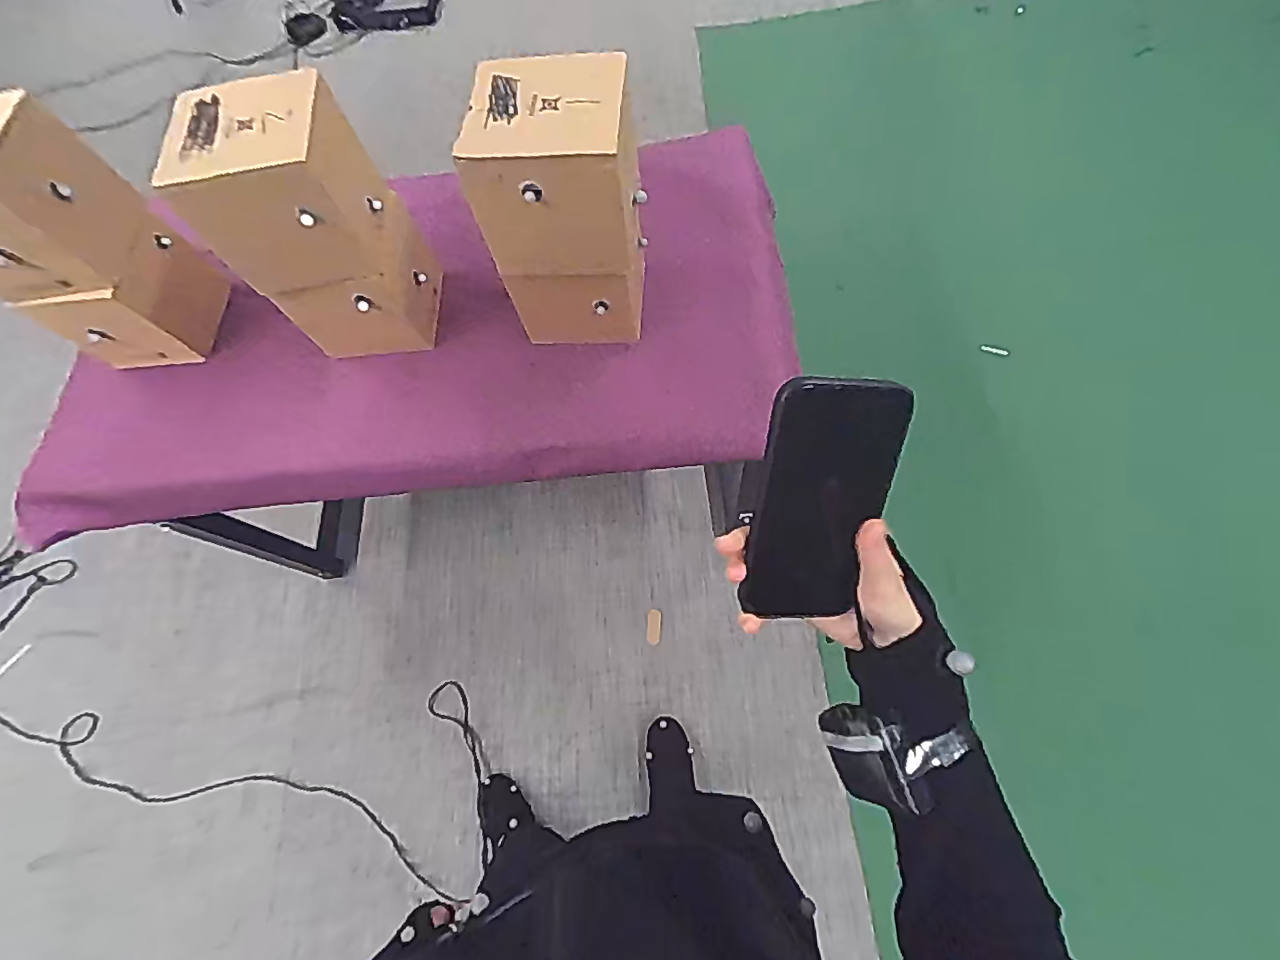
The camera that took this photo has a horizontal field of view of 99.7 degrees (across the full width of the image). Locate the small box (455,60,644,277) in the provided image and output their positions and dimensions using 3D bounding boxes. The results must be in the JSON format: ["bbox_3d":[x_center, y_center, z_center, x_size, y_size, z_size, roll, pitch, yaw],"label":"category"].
[{"bbox_3d":[-0.095,-0.368,0.661,0.179,0.176,0.168,2,67,6],"label":"small box"}]

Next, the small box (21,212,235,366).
[{"bbox_3d":[-0.816,-0.300,0.886,0.168,0.176,0.179,-3,67,5],"label":"small box"}]

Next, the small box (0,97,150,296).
[{"bbox_3d":[-0.832,-0.372,0.738,0.168,0.176,0.179,-8,67,2],"label":"small box"}]

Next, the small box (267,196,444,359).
[{"bbox_3d":[-0.427,-0.308,0.847,0.179,0.176,0.168,-4,67,4],"label":"small box"}]

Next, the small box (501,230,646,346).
[{"bbox_3d":[-0.087,-0.318,0.817,0.179,0.176,0.168,2,67,8],"label":"small box"}]
